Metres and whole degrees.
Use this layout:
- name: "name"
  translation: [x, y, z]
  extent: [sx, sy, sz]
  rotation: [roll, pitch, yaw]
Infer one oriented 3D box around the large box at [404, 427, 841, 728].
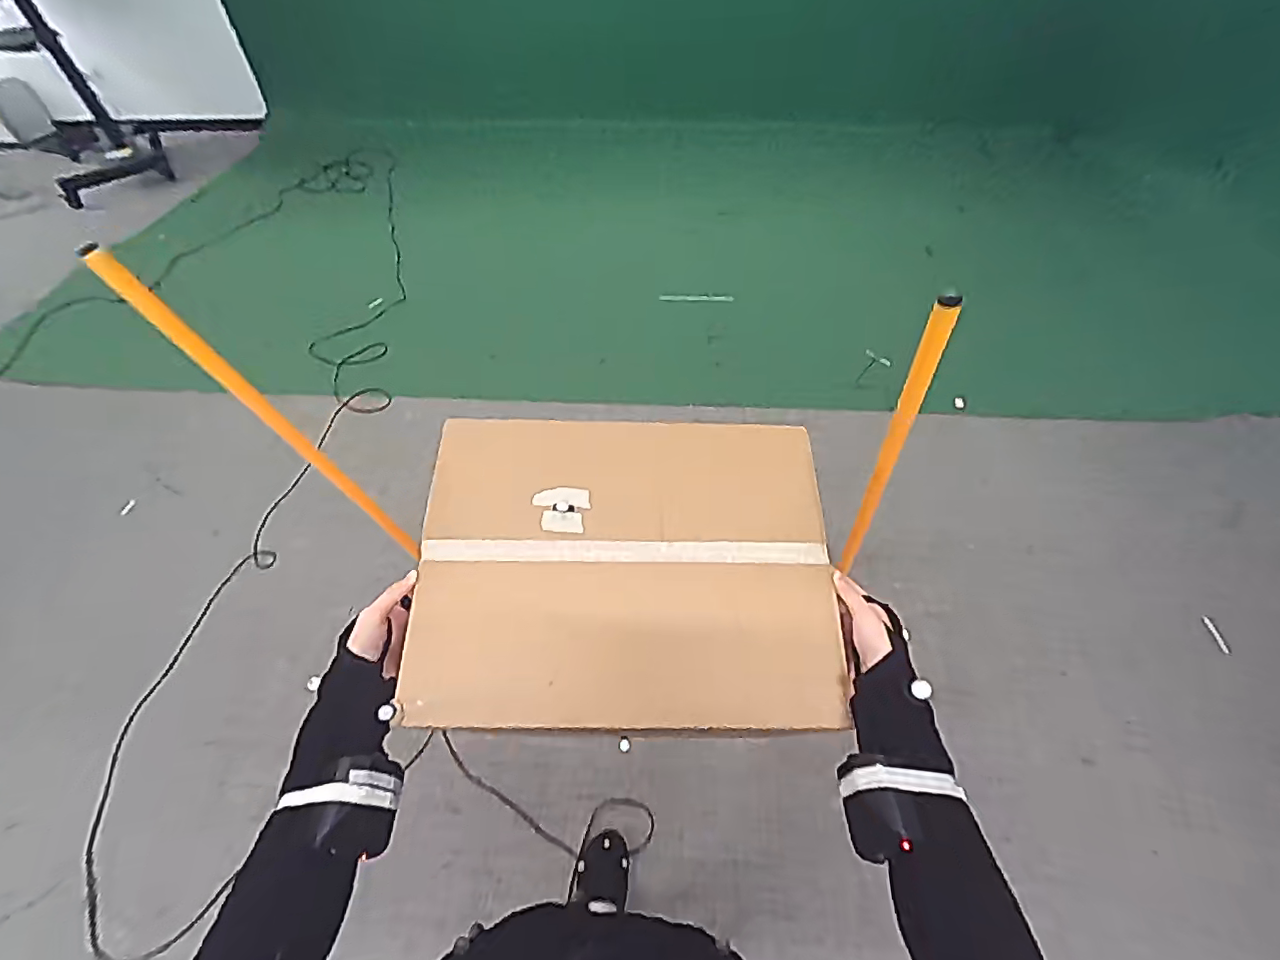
- name: "large box"
  translation: [-0.016, 0.143, 0.685]
  extent: [0.408, 0.320, 0.320]
  rotation: [1, 63, -1]
